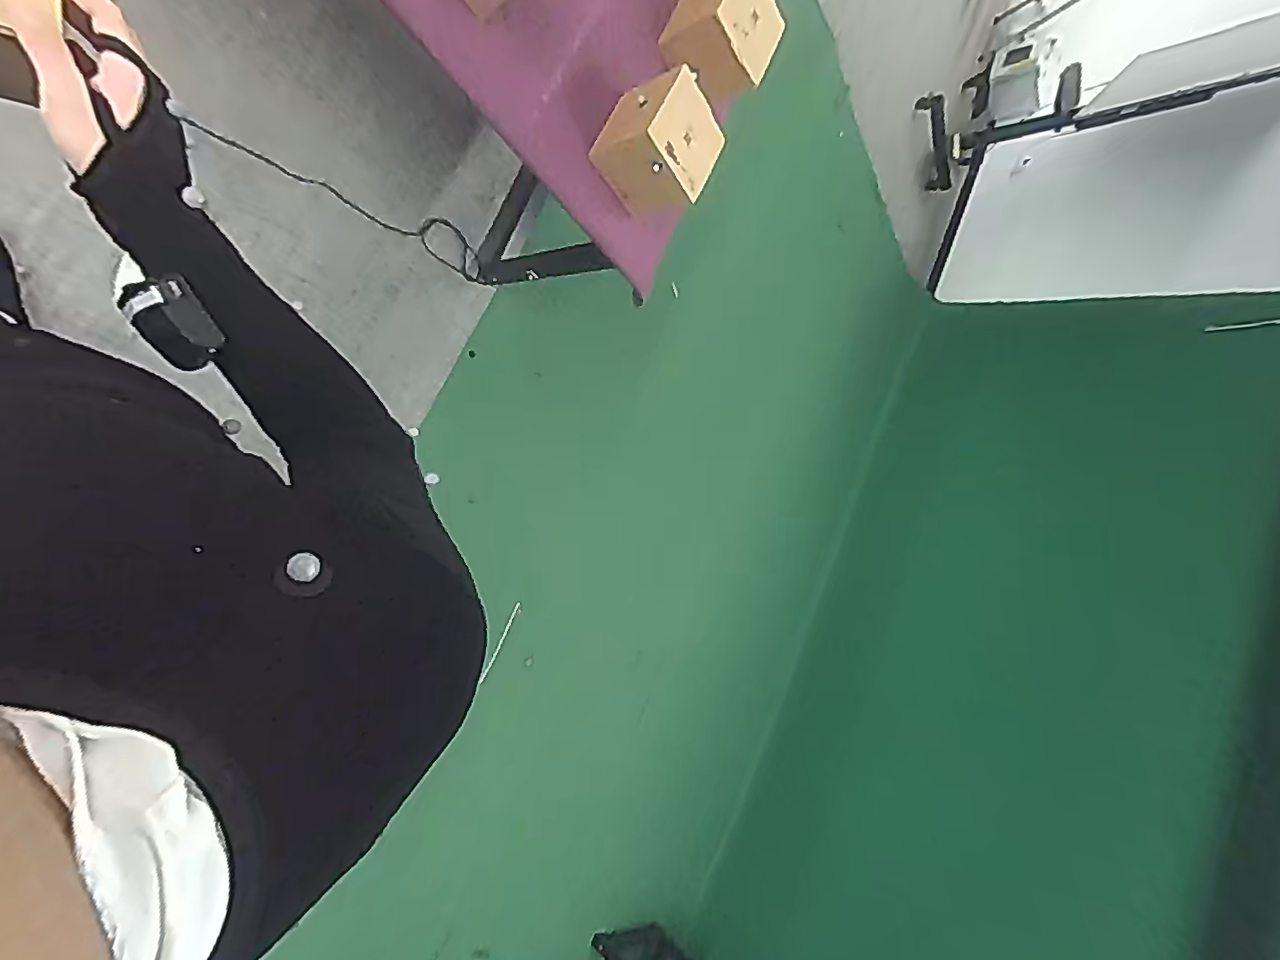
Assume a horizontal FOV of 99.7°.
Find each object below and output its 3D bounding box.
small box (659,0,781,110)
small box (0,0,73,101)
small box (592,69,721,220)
[{"bbox_3d":[0.167,-0.940,1.153,0.168,0.176,0.179,33,77,-43],"label":"small box"},{"bbox_3d":[-0.502,-0.393,0.356,0.168,0.176,0.179,-6,104,-44],"label":"small box"},{"bbox_3d":[0.031,-0.661,1.086,0.168,0.176,0.179,38,70,-43],"label":"small box"}]
